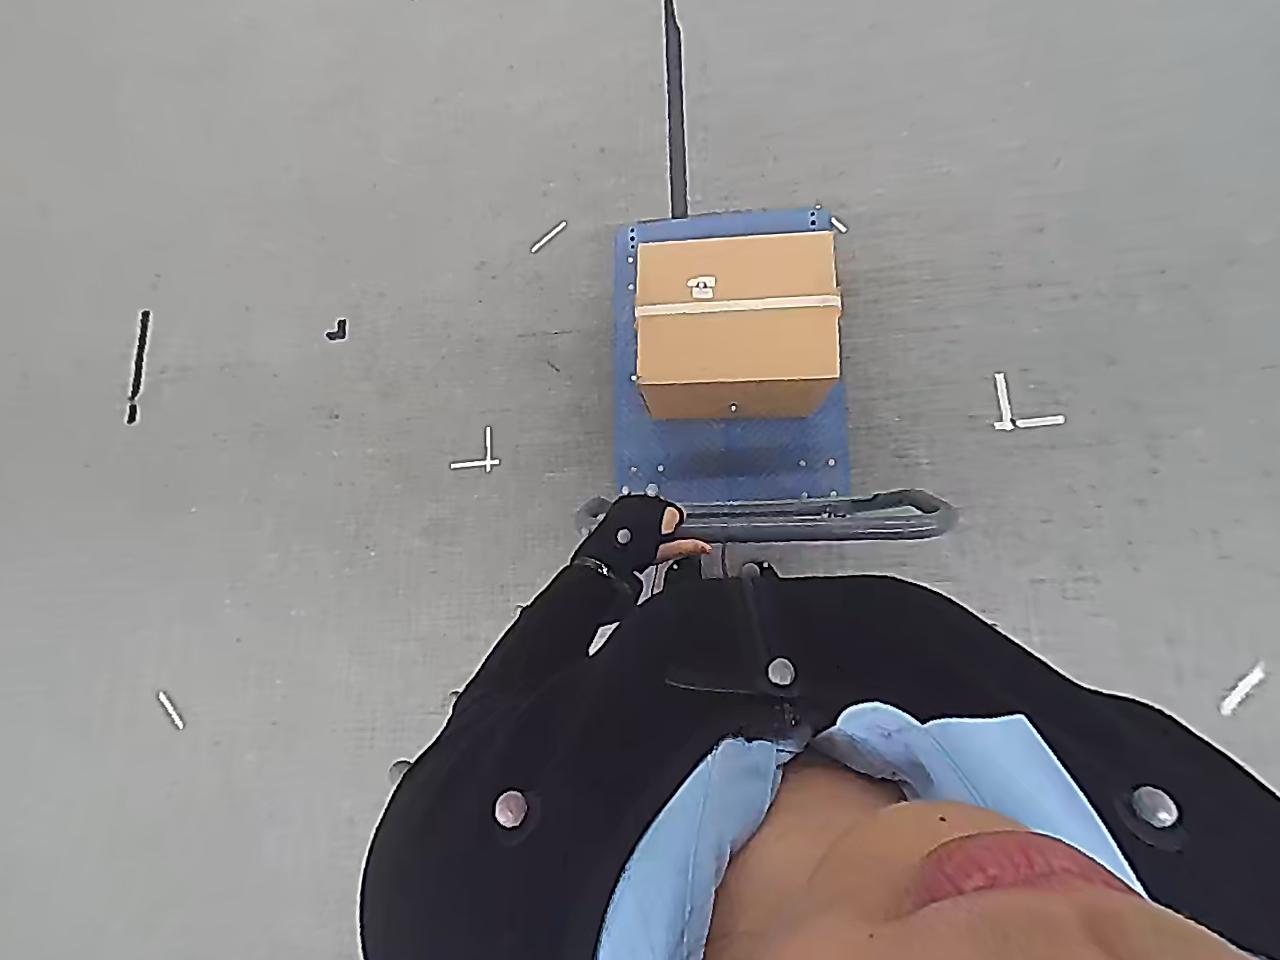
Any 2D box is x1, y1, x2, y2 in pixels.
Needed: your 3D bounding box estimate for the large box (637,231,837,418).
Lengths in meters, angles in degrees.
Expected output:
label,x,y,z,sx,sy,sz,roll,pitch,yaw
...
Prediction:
label,x,y,z,sx,sy,sz,roll,pitch,yaw
large box,0.216,-0.334,1.261,0.408,0.320,0.320,-1,81,9
